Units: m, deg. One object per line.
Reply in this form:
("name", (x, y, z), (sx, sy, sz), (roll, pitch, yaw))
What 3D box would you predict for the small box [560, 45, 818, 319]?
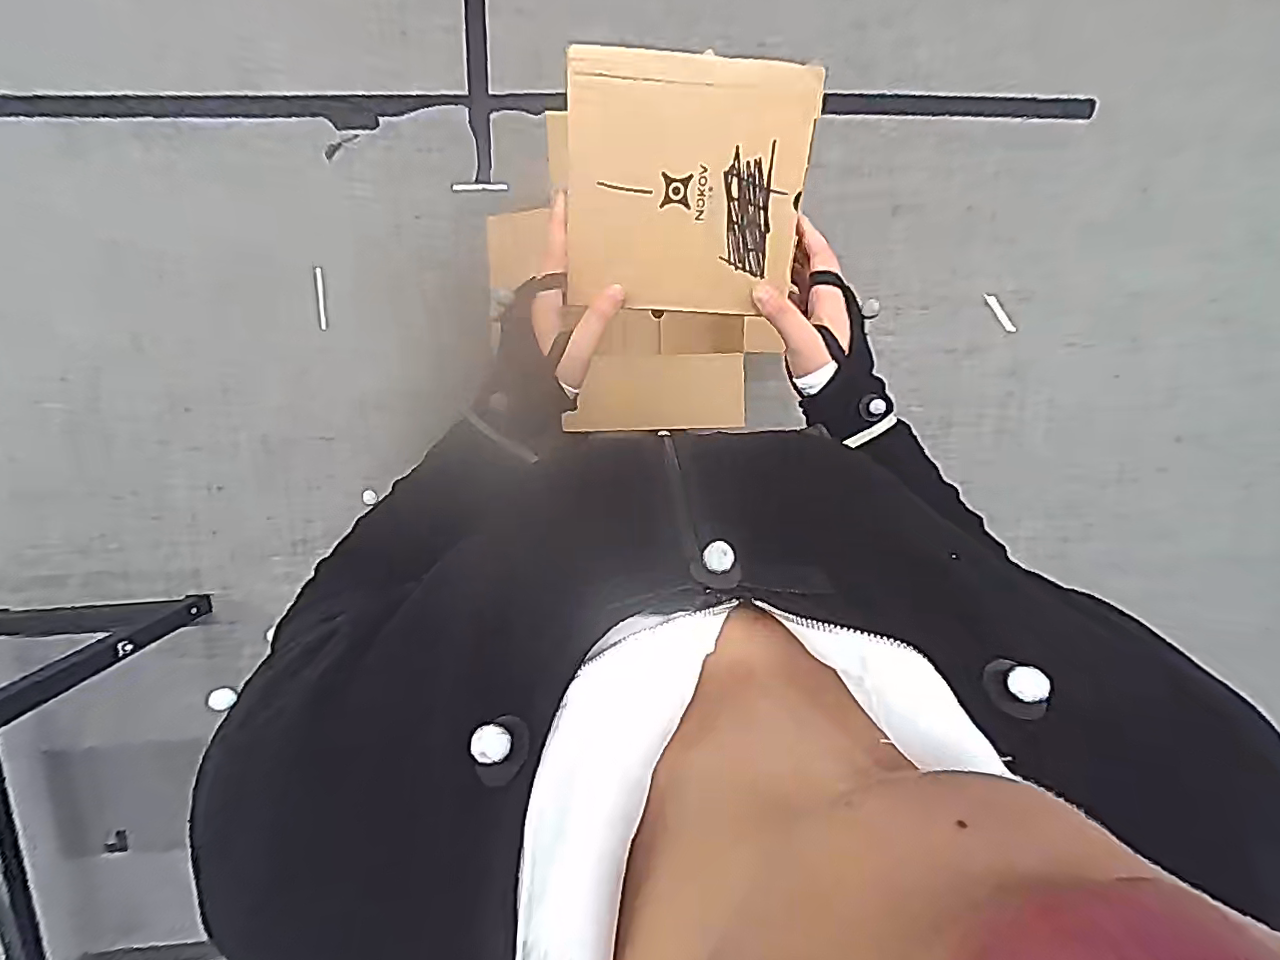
("small box", (0.025, -0.241, 0.465), (0.179, 0.176, 0.168), (2, 114, -4))
